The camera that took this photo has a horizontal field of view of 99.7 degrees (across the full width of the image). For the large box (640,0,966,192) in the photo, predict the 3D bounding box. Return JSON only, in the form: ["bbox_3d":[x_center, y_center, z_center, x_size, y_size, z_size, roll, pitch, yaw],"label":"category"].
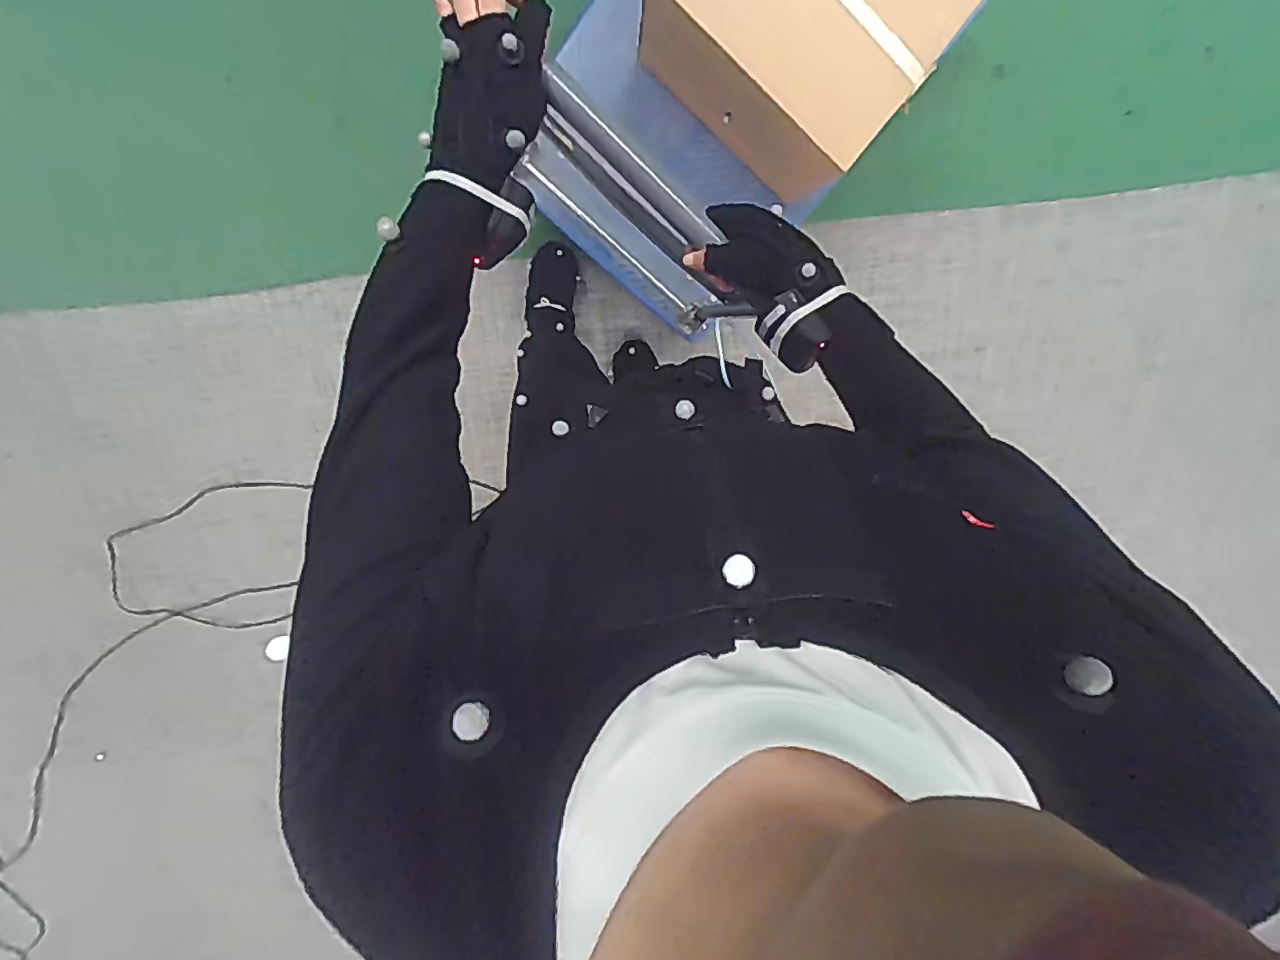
[{"bbox_3d":[0.250,-0.777,0.922,0.408,0.320,0.320,35,103,-13],"label":"large box"}]
